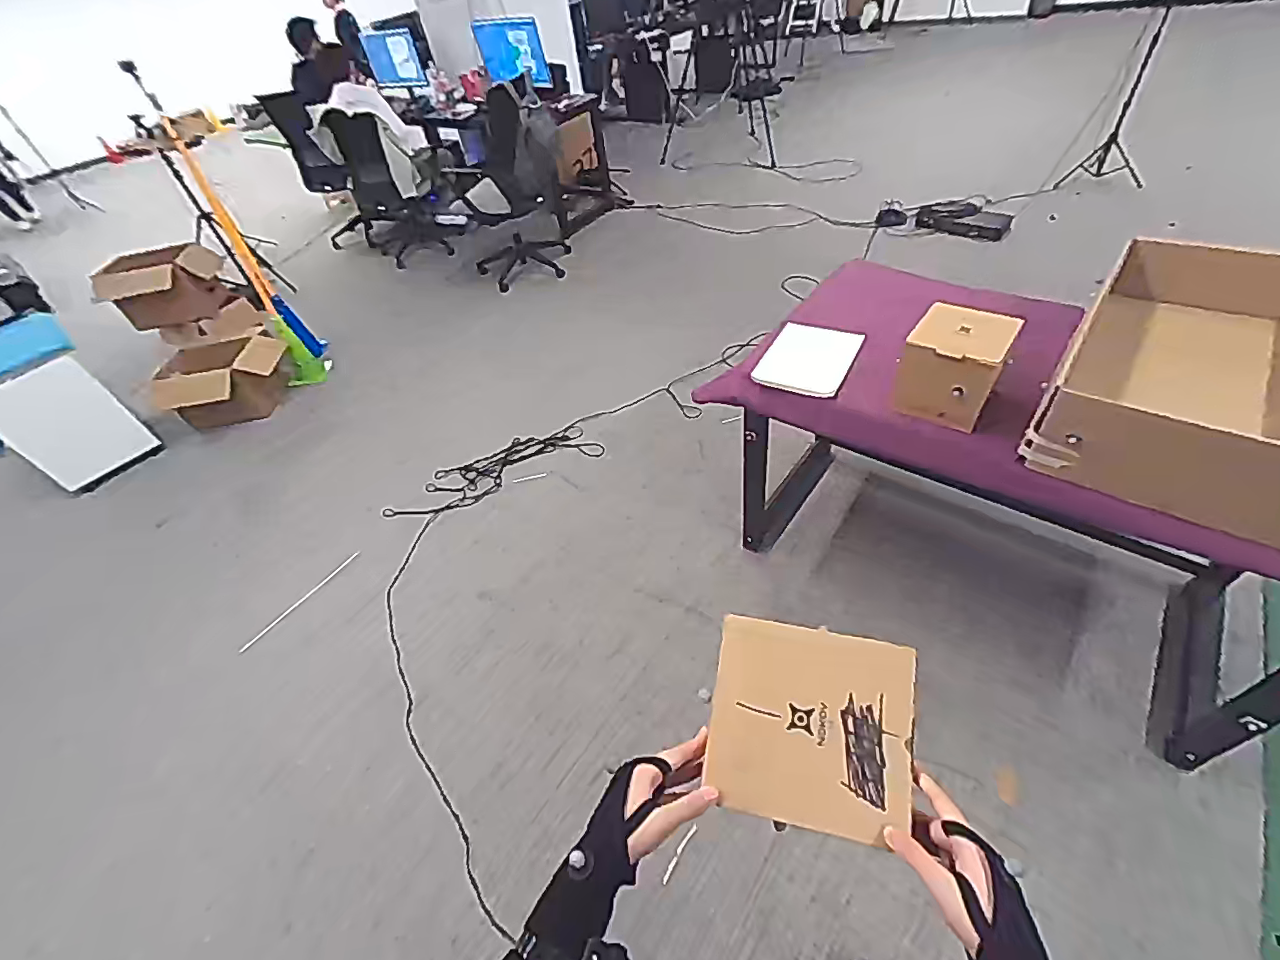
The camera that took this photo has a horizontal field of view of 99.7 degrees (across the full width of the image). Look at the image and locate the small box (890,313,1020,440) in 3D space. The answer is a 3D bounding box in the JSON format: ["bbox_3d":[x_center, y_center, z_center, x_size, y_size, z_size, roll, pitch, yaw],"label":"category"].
[{"bbox_3d":[0.629,-0.209,1.098,0.168,0.176,0.179,26,54,31],"label":"small box"}]

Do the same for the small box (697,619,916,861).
[{"bbox_3d":[0.160,0.254,0.552,0.179,0.176,0.168,8,66,12],"label":"small box"}]
